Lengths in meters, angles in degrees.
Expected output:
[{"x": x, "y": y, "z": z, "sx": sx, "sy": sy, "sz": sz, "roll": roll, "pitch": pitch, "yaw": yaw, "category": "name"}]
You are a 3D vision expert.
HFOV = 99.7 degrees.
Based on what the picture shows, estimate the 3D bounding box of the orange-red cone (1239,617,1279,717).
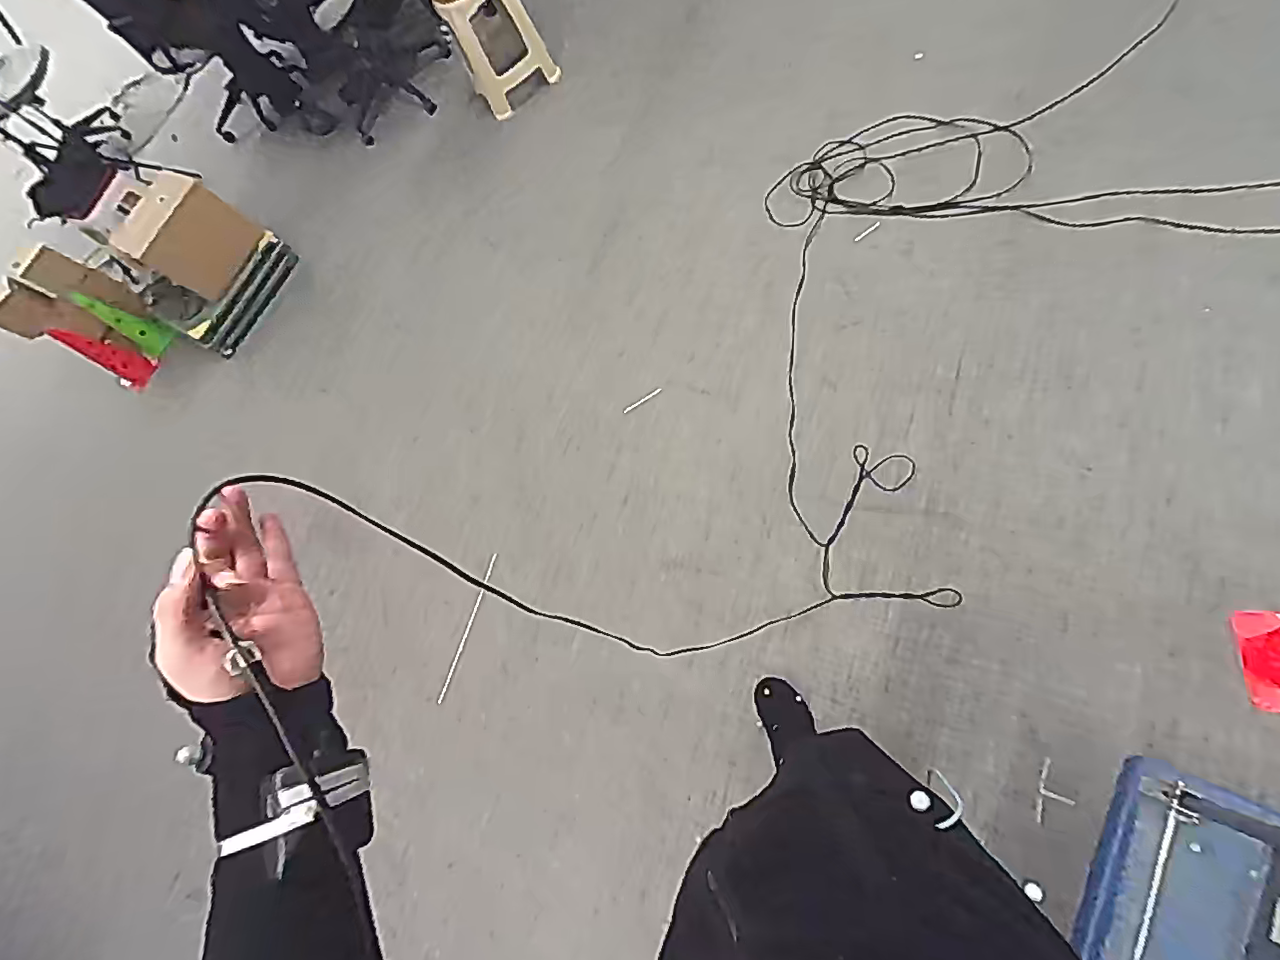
[{"x": 1.296, "y": 0.325, "z": 0.932, "sx": 0.198, "sy": 0.360, "sz": 0.199, "roll": -1, "pitch": 70, "yaw": 18, "category": "orange-red cone"}]
